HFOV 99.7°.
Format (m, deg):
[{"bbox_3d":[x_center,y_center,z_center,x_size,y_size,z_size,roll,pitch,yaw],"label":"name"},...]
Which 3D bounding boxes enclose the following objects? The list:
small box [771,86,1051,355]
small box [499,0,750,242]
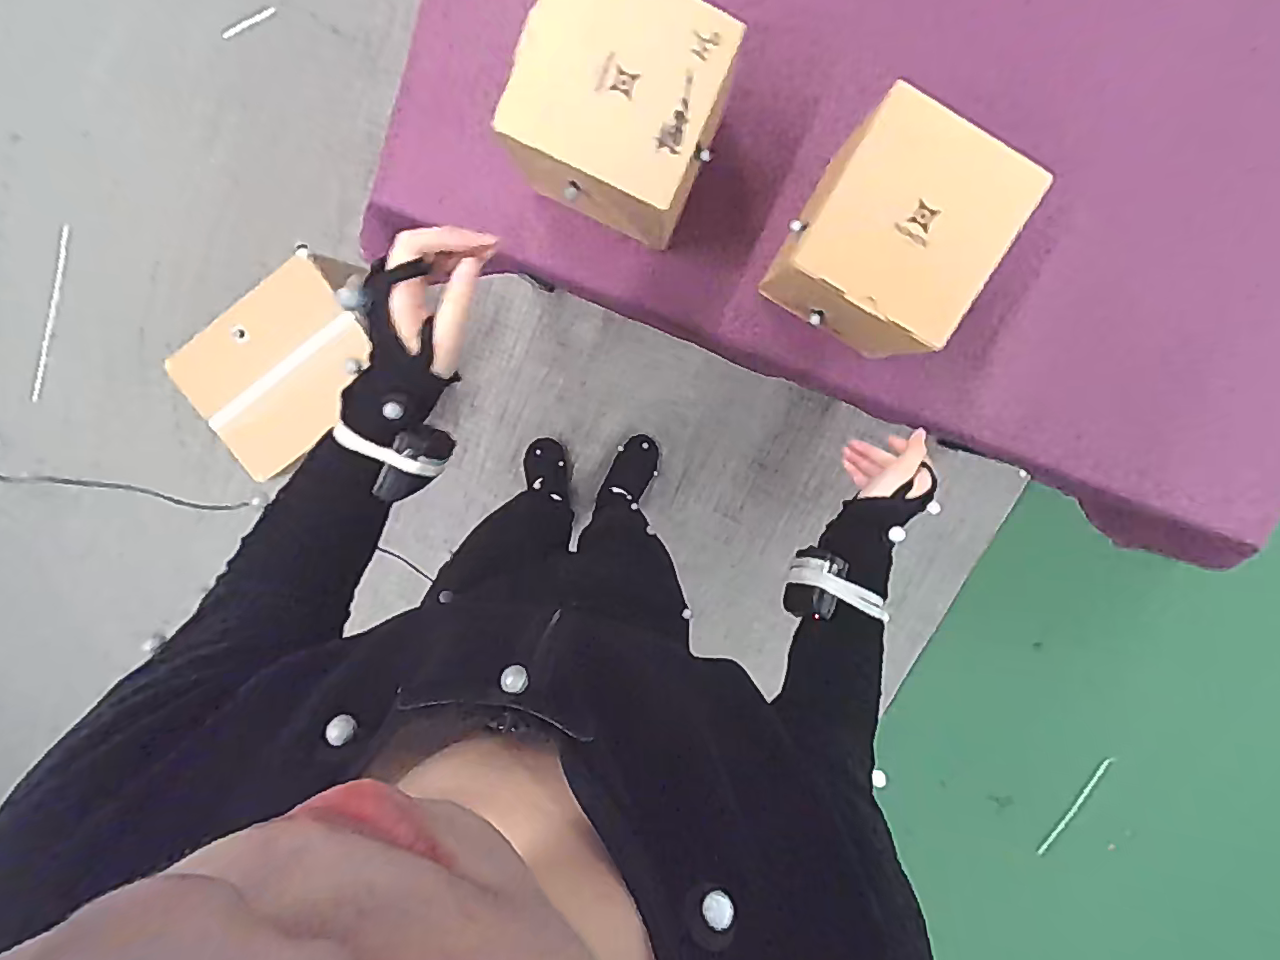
[{"bbox_3d":[0.259,-0.249,0.570,0.168,0.176,0.179,30,102,-4],"label":"small box"},{"bbox_3d":[-0.013,-0.368,0.552,0.179,0.176,0.168,25,102,-2],"label":"small box"}]
